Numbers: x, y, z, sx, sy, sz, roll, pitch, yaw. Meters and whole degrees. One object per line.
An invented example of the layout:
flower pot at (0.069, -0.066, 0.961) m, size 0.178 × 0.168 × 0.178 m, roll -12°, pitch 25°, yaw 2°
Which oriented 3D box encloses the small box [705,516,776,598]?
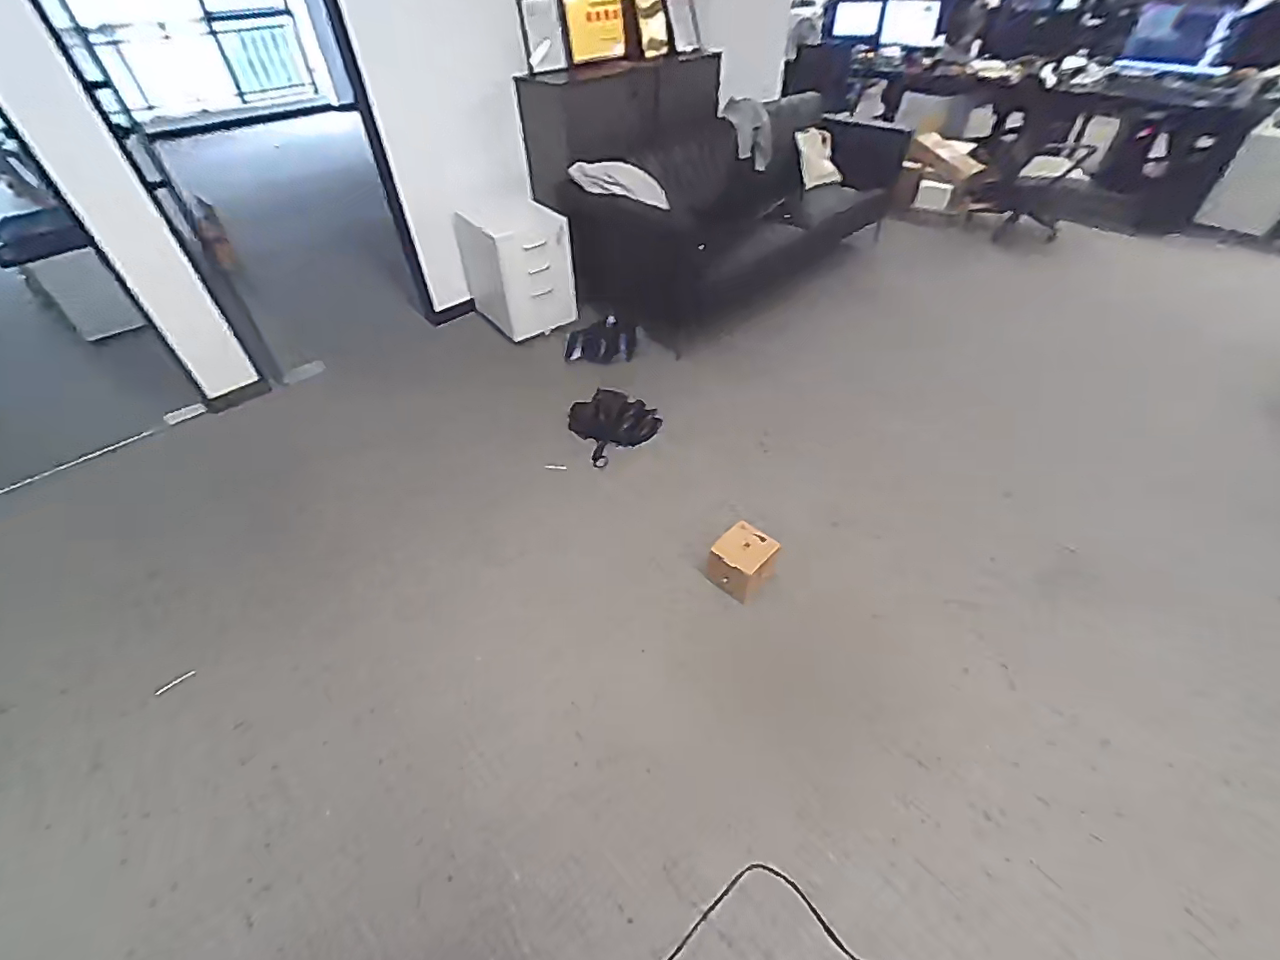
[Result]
small box at (0.333, 0.262, 1.810) m, size 0.168 × 0.176 × 0.179 m, roll 34°, pitch 56°, yaw 30°
